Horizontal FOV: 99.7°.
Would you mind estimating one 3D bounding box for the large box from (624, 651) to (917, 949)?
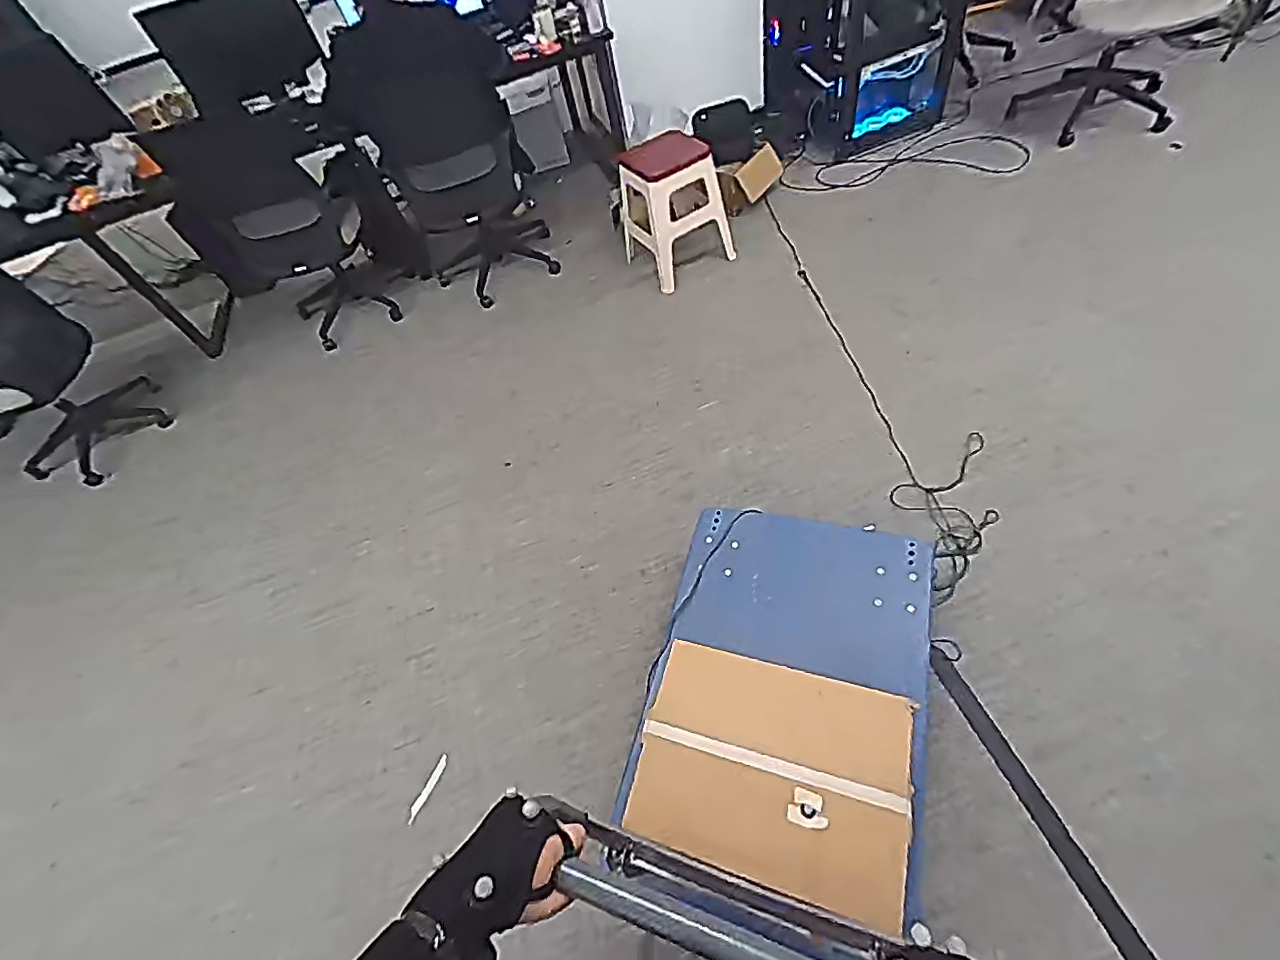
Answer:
[{"bbox_3d":[0.229,0.539,0.948,0.408,0.320,0.320,9,58,19],"label":"large box"}]
